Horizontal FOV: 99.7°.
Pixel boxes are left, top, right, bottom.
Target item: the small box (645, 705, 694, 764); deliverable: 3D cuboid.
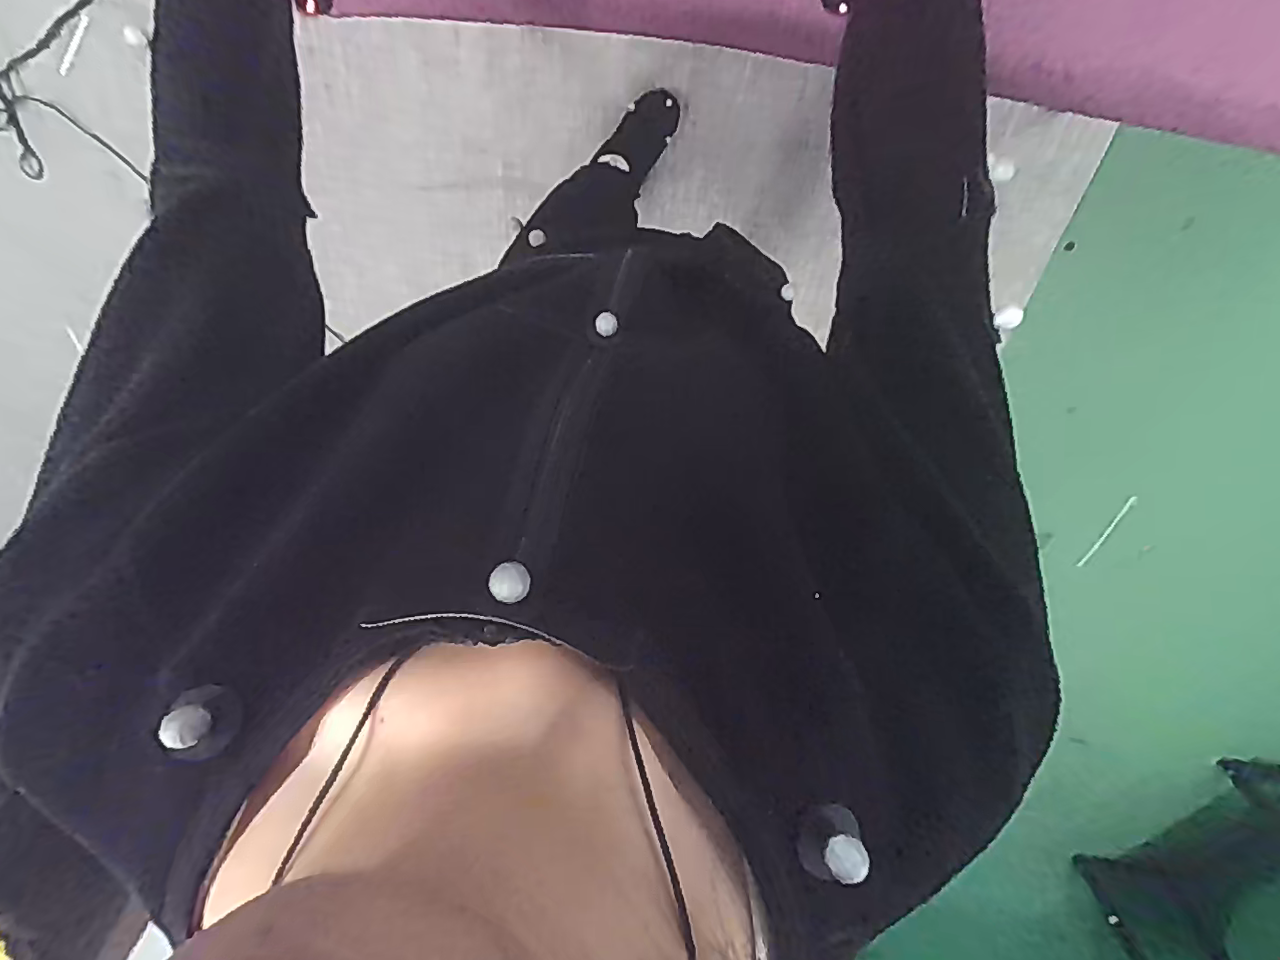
[{"bbox_3d":[0.126,1.127,2.403,0.179,0.176,0.168,14,123,-10],"label":"small box"}]
